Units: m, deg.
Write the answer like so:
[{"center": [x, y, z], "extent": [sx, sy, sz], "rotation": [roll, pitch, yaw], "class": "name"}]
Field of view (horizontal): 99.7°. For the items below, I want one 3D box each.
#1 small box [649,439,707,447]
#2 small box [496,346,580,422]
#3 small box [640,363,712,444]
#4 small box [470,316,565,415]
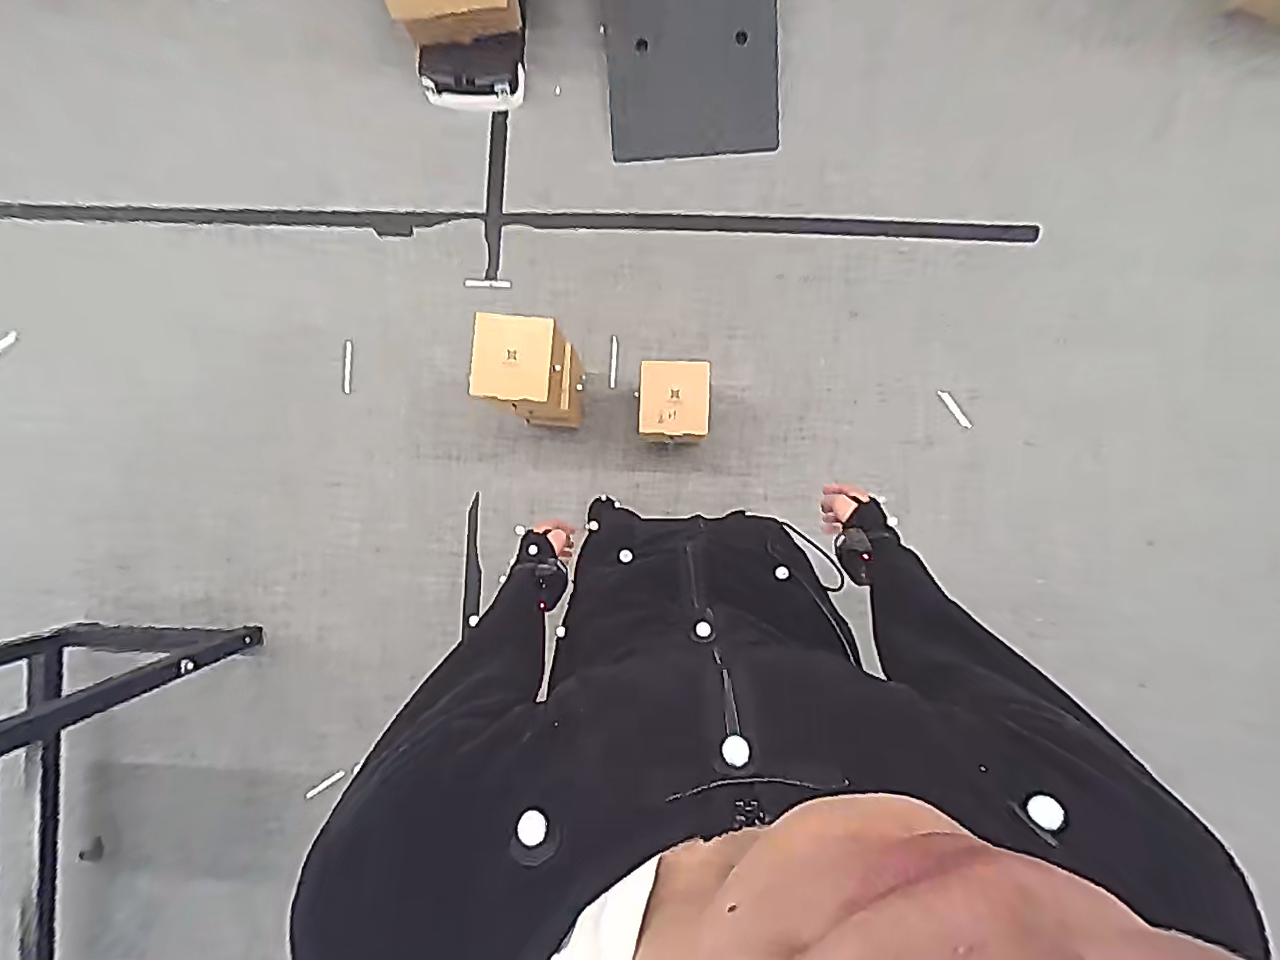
[{"center": [0.102, -0.185, 1.520], "extent": [0.168, 0.176, 0.179], "rotation": [1, 91, 3], "class": "small box"}, {"center": [-0.251, -0.240, 1.361], "extent": [0.179, 0.176, 0.168], "rotation": [3, 90, 0], "class": "small box"}, {"center": [0.086, -0.187, 1.356], "extent": [0.168, 0.176, 0.179], "rotation": [2, 90, 2], "class": "small box"}, {"center": [-0.264, -0.247, 1.199], "extent": [0.168, 0.176, 0.179], "rotation": [5, 91, 1], "class": "small box"}]
